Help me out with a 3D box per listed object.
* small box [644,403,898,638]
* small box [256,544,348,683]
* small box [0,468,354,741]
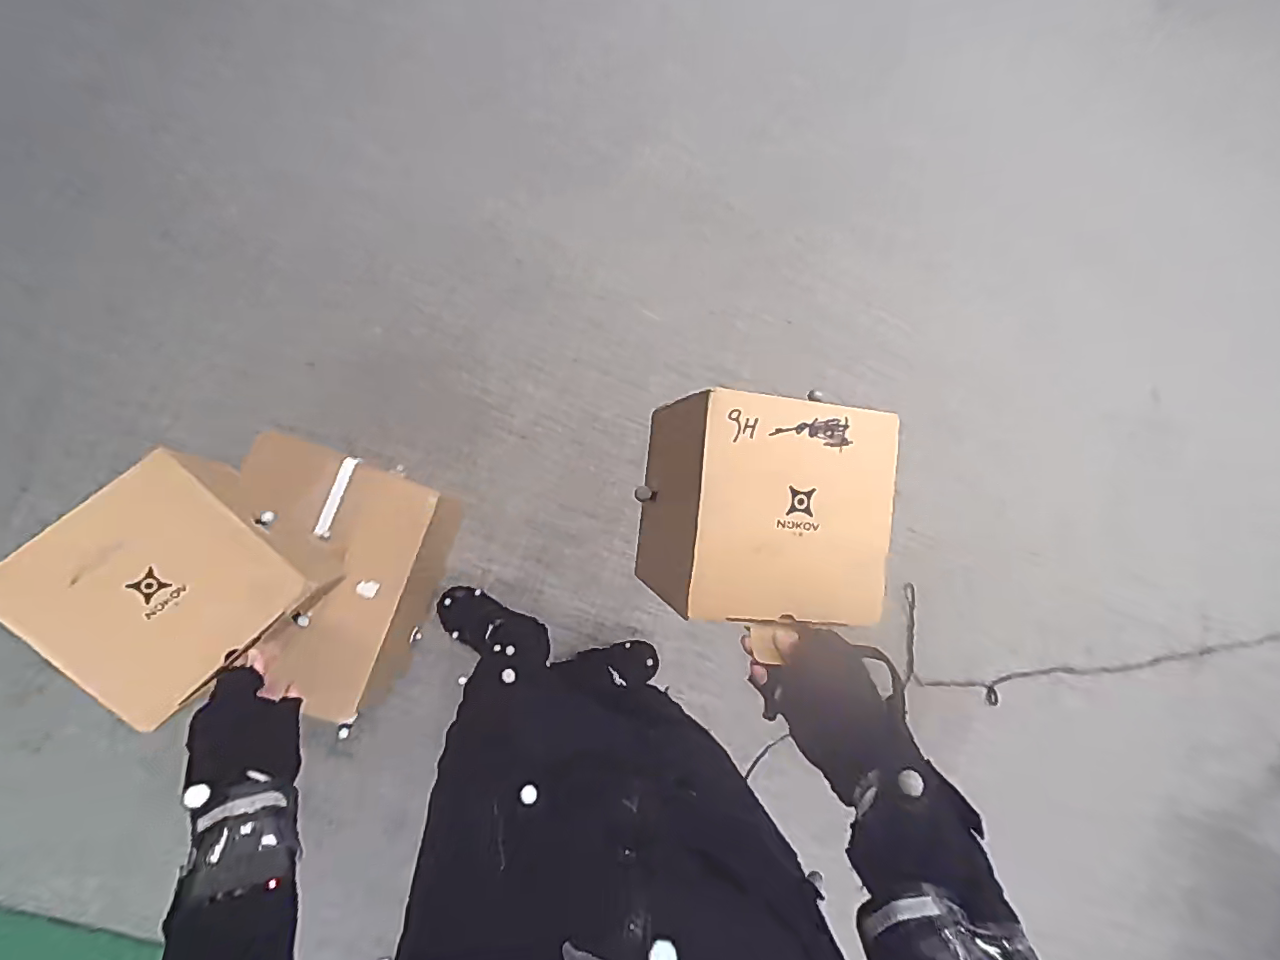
[{"bbox_3d":[0.105,0.032,0.503,0.168,0.176,0.179,6,91,-13],"label":"small box"},{"bbox_3d":[-0.557,0.170,0.798,0.168,0.176,0.179,19,82,-12],"label":"small box"},{"bbox_3d":[-0.420,0.110,0.536,0.179,0.176,0.168,47,73,-8],"label":"small box"}]
